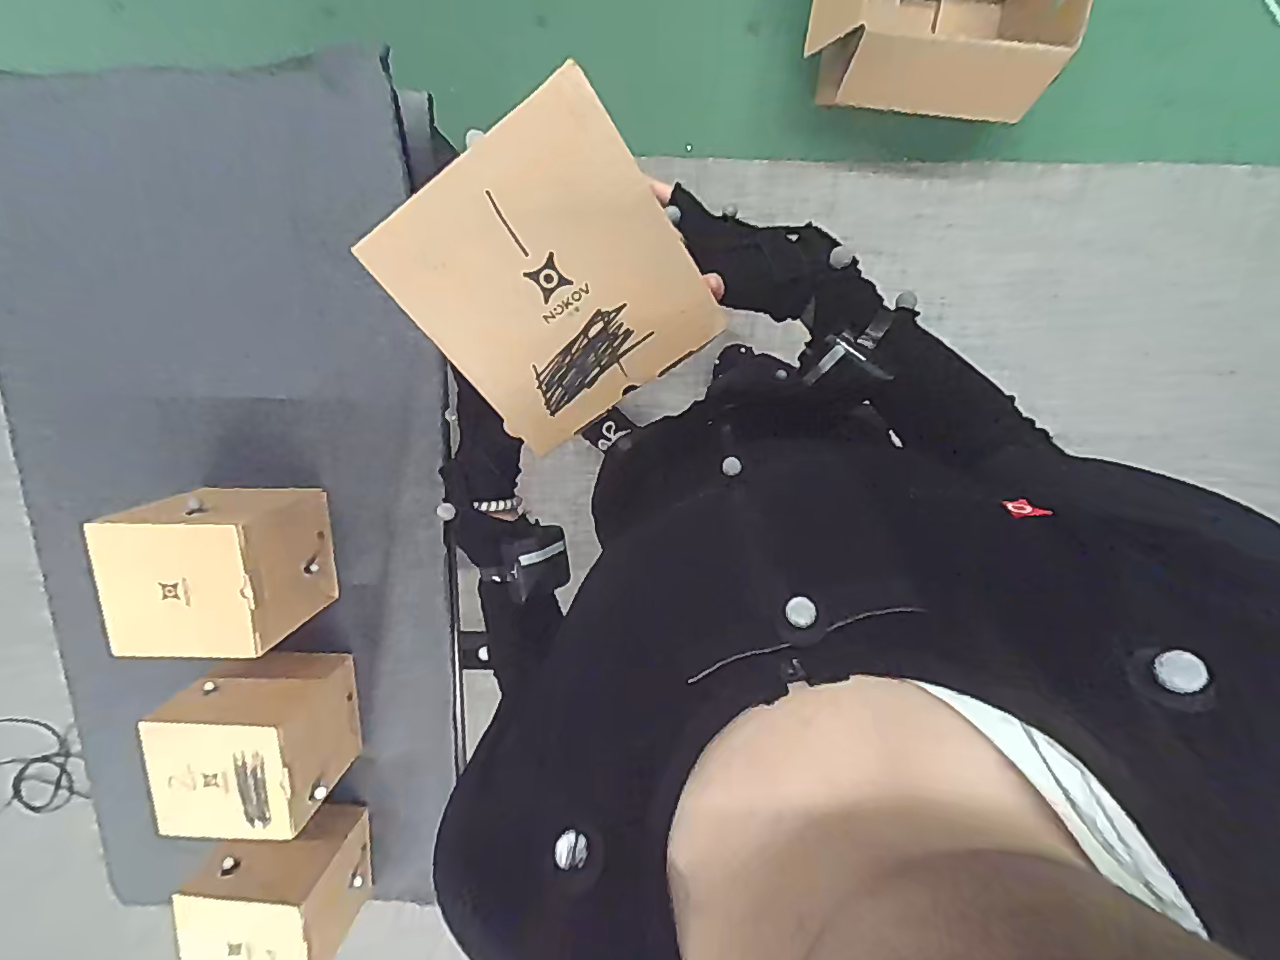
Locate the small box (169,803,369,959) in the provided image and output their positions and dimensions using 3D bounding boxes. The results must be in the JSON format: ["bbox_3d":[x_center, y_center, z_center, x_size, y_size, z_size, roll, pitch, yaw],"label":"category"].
[{"bbox_3d":[-0.525,0.607,0.790,0.179,0.176,0.168,4,102,1],"label":"small box"}]

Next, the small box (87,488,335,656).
[{"bbox_3d":[-0.528,0.108,0.693,0.179,0.176,0.168,0,101,0],"label":"small box"}]

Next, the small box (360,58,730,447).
[{"bbox_3d":[-0.060,-0.163,0.406,0.168,0.176,0.179,-33,119,10],"label":"small box"}]
